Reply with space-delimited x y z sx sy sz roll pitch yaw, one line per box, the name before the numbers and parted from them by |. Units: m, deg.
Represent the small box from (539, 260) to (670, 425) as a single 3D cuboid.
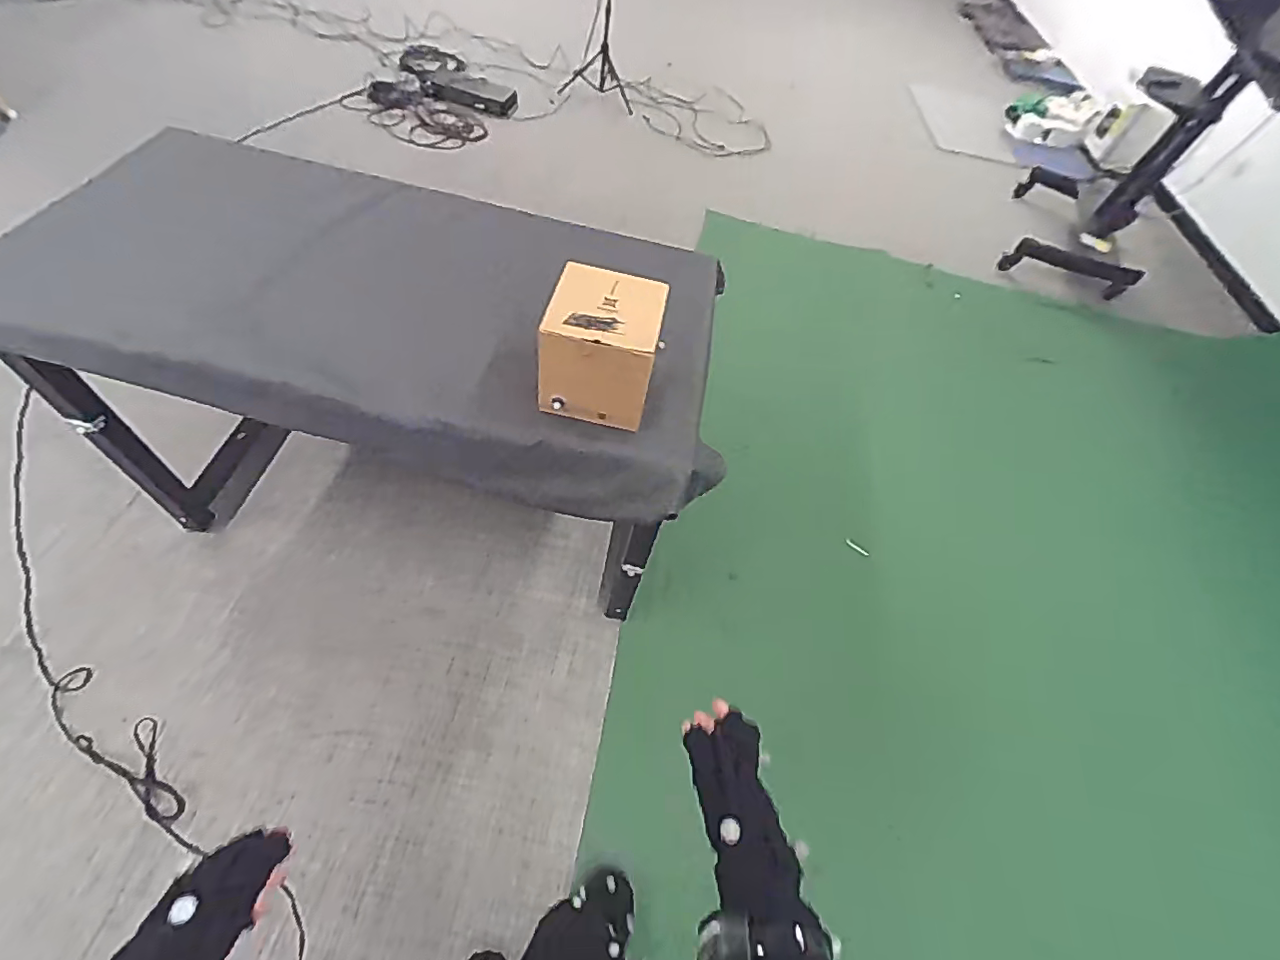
small box | -0.057 -0.213 0.862 0.168 0.176 0.179 13 53 -1
